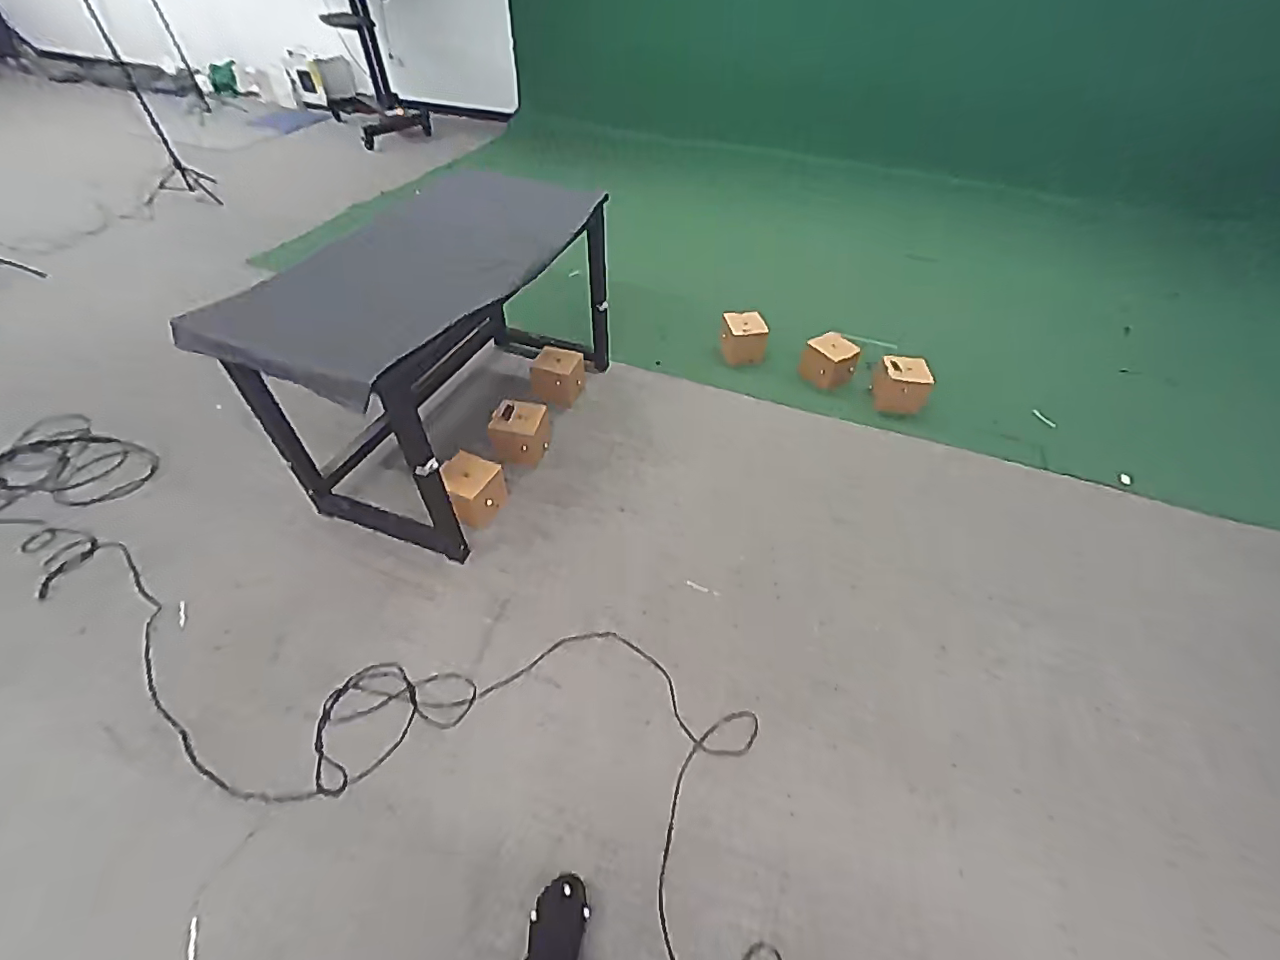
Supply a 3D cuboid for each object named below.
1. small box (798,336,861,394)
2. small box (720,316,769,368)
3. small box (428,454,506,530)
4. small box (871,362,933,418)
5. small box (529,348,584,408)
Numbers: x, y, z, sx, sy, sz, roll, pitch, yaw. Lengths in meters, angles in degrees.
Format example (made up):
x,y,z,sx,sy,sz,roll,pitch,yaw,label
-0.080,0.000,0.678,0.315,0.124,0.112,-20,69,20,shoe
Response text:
x,y,z,sx,sy,sz,roll,pitch,yaw,label
0.828,-0.499,2.376,0.168,0.176,0.179,-25,52,-24,small box
0.474,-0.635,2.492,0.168,0.176,0.179,-7,47,-8,small box
-0.576,0.045,1.832,0.179,0.176,0.168,21,50,16,small box
1.089,-0.376,2.269,0.179,0.176,0.168,6,47,2,small box
-0.342,-0.424,2.266,0.179,0.176,0.168,13,48,10,small box
